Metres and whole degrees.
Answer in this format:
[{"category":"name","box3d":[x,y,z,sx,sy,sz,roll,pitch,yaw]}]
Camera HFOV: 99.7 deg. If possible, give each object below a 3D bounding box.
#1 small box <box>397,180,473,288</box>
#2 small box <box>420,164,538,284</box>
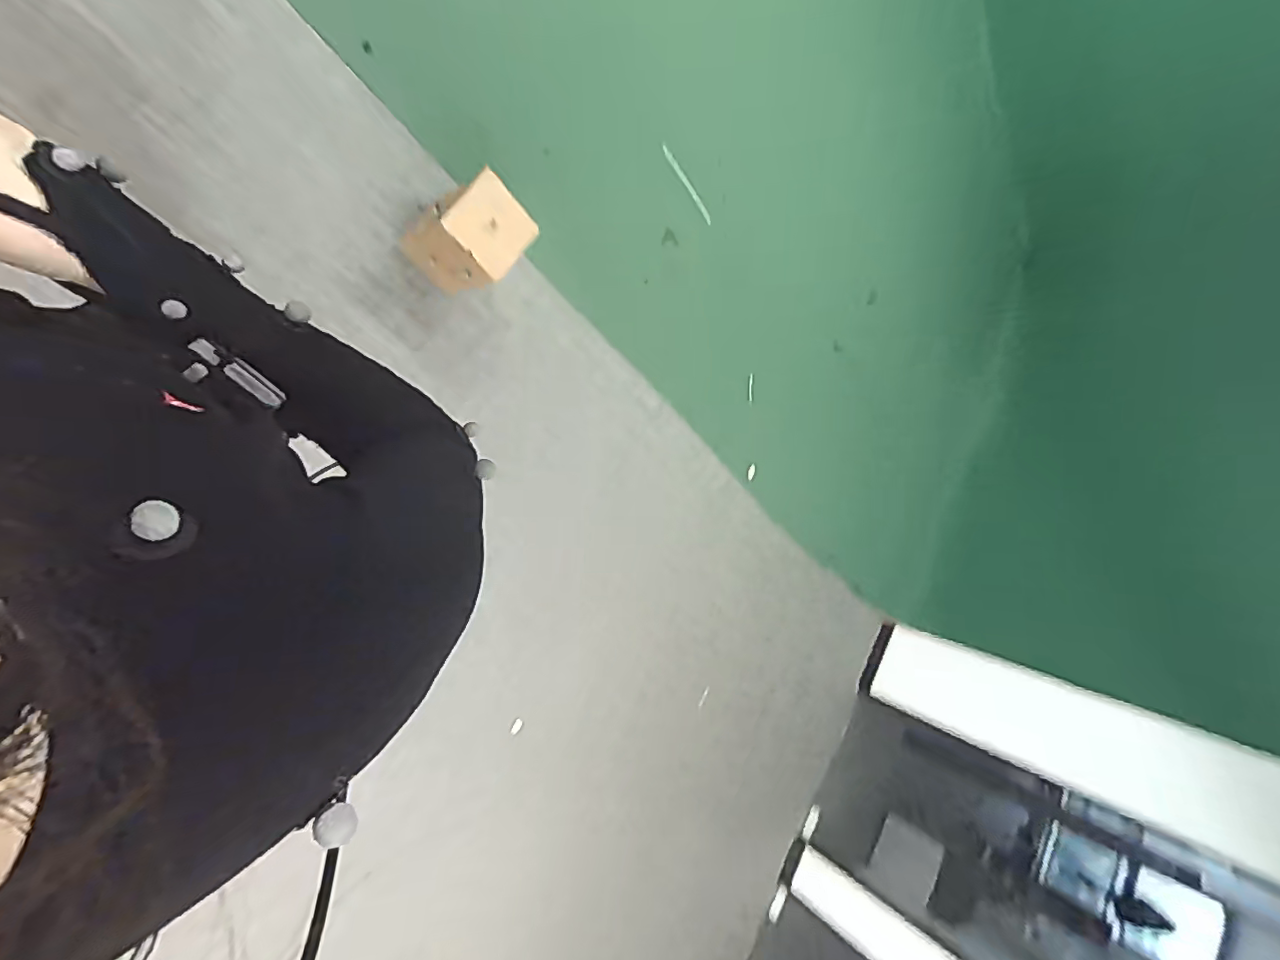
[{"category":"small box","box3d":[-0.472,-0.605,1.355,0.179,0.176,0.168,45,71,-39]},{"category":"small box","box3d":[-0.374,-0.571,1.232,0.168,0.176,0.179,43,71,-39]}]
